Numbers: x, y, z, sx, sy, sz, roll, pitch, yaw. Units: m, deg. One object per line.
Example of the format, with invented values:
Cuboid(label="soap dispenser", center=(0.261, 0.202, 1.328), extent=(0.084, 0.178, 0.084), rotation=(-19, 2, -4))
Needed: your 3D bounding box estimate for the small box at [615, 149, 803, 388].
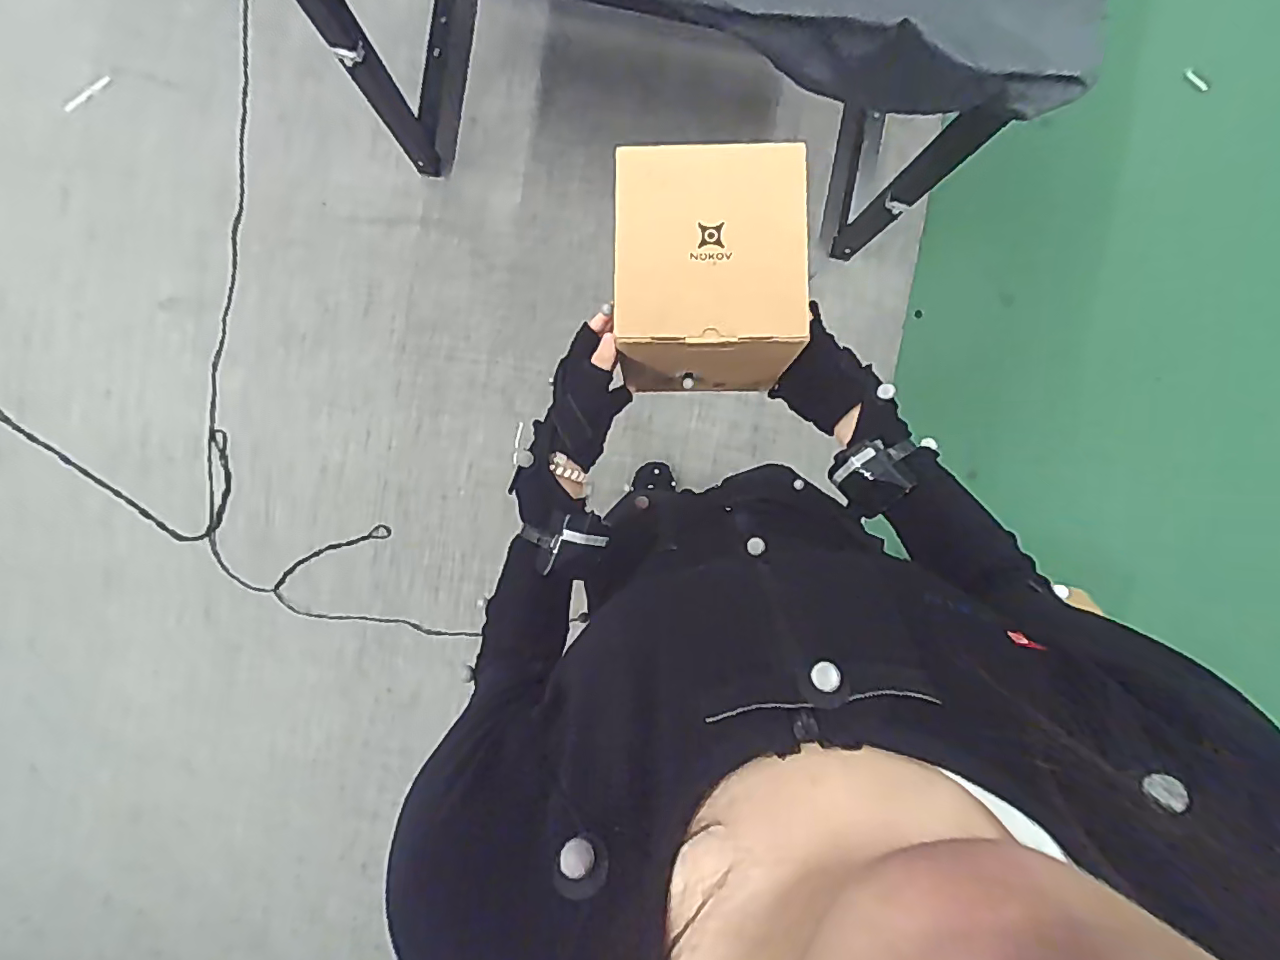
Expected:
Cuboid(label="small box", center=(0.062, -0.202, 0.554), extent=(0.168, 0.176, 0.179), rotation=(0, 86, 2))
